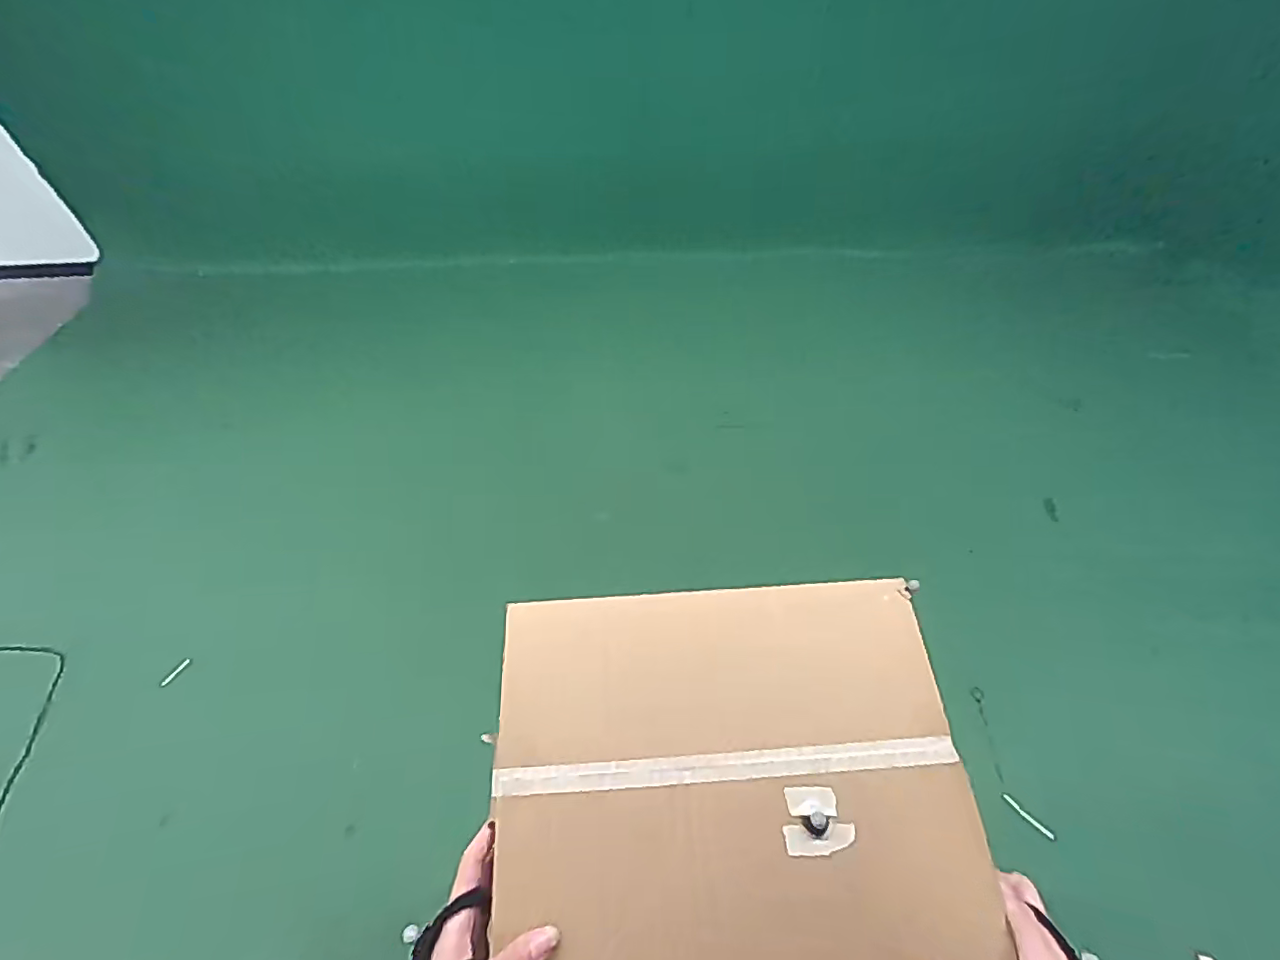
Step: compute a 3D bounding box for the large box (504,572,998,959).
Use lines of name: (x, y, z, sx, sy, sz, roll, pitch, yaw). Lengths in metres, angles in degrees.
large box: (0.078, 0.316, 0.623, 0.408, 0.320, 0.320, -4, 63, -2)
